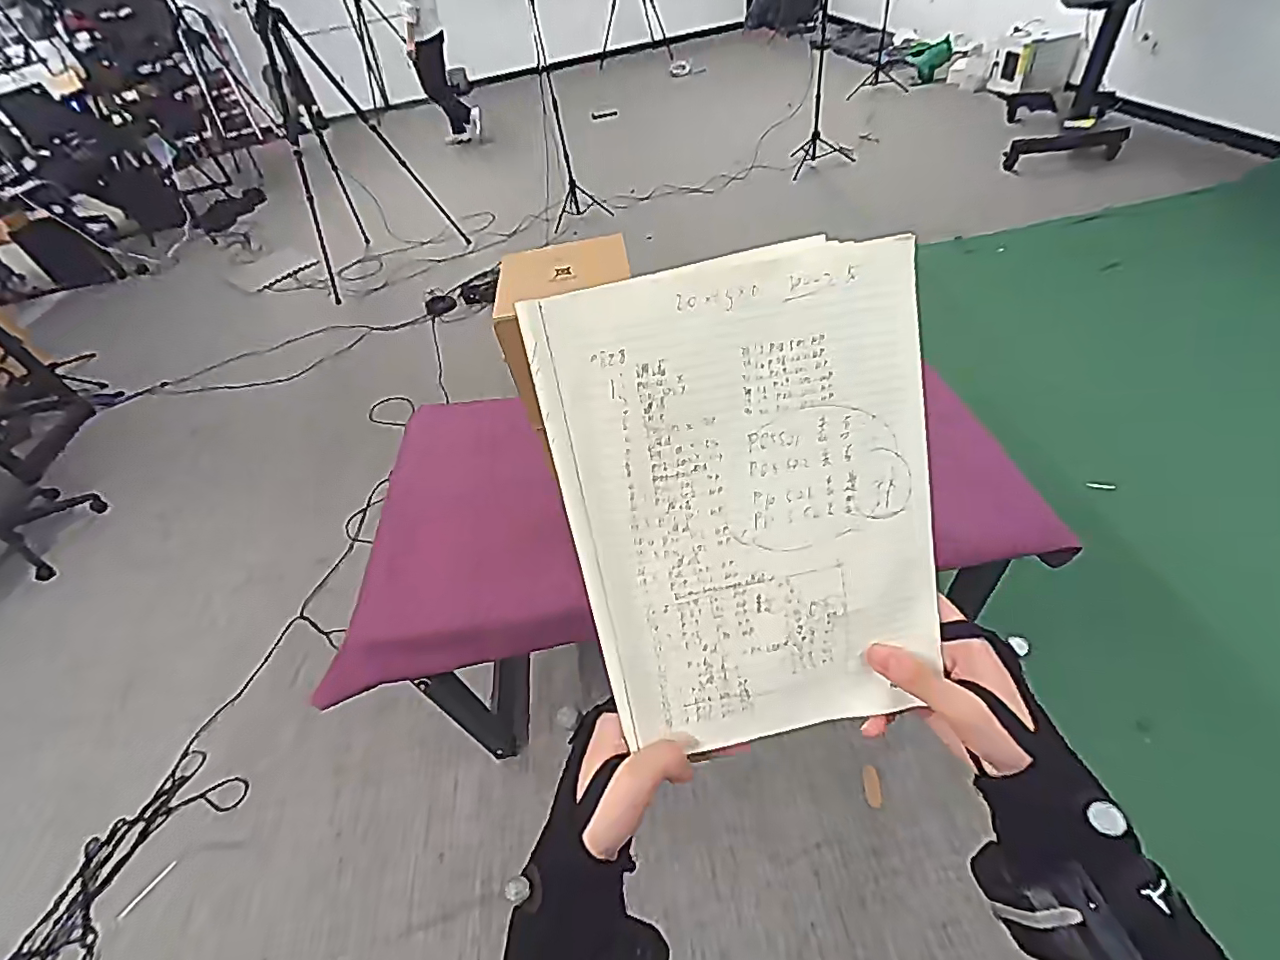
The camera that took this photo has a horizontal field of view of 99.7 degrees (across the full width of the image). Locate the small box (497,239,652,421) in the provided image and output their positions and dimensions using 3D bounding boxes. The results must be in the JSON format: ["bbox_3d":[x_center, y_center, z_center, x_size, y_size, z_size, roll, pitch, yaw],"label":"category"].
[{"bbox_3d":[-0.079,-0.194,0.728,0.168,0.176,0.179,-9,45,2],"label":"small box"}]

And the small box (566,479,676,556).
[{"bbox_3d":[-0.033,0.021,0.971,0.168,0.176,0.179,-10,47,2],"label":"small box"}]

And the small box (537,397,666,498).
[{"bbox_3d":[-0.057,-0.087,0.848,0.168,0.176,0.179,-10,45,2],"label":"small box"}]
